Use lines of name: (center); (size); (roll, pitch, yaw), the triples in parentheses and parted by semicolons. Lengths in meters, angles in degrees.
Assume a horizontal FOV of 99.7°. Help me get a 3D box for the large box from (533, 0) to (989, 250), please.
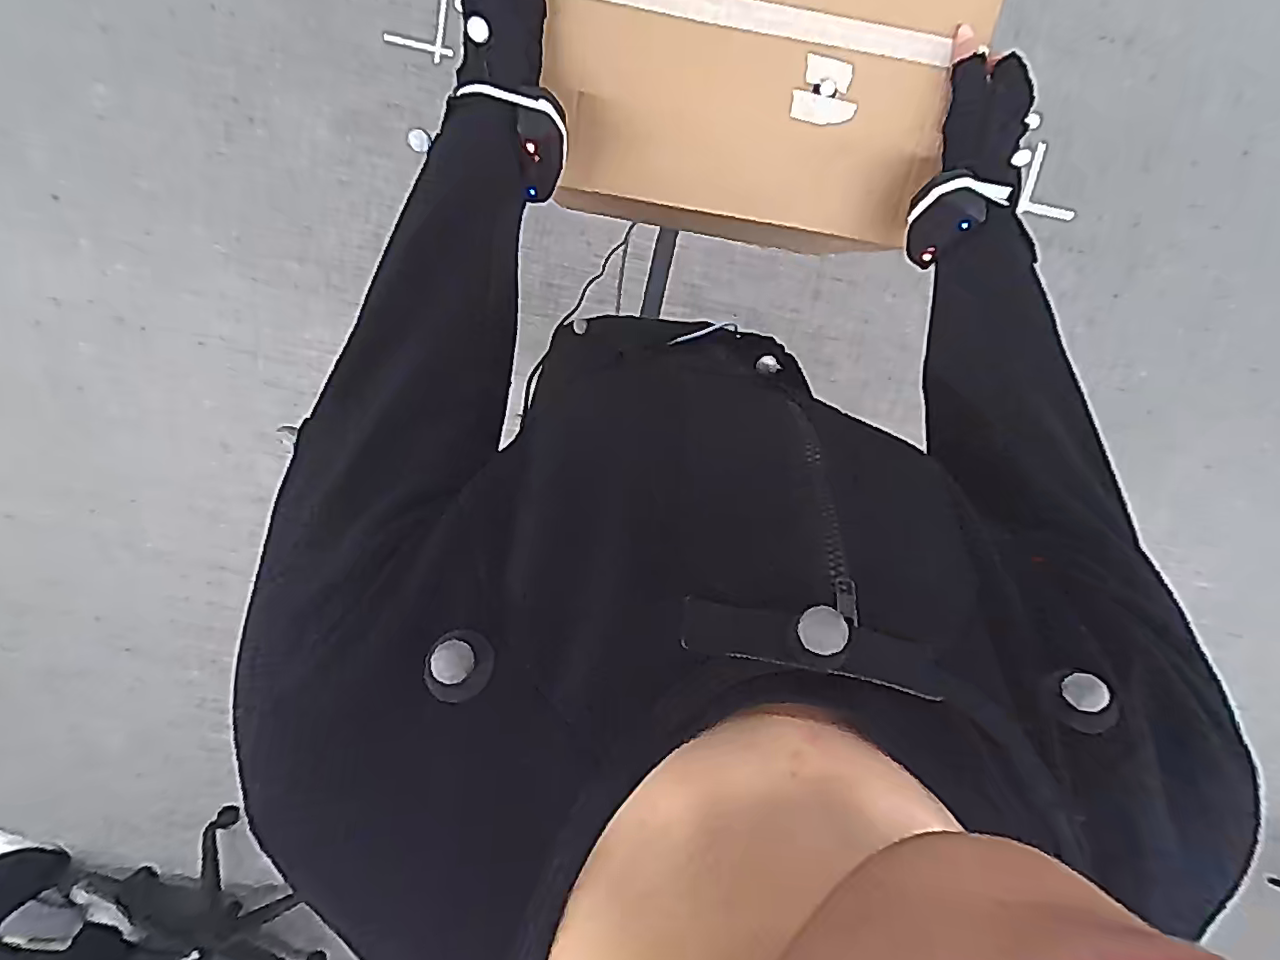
large box: (0.104, -0.463, 0.628); (0.408, 0.320, 0.320); (7, 112, -5)
